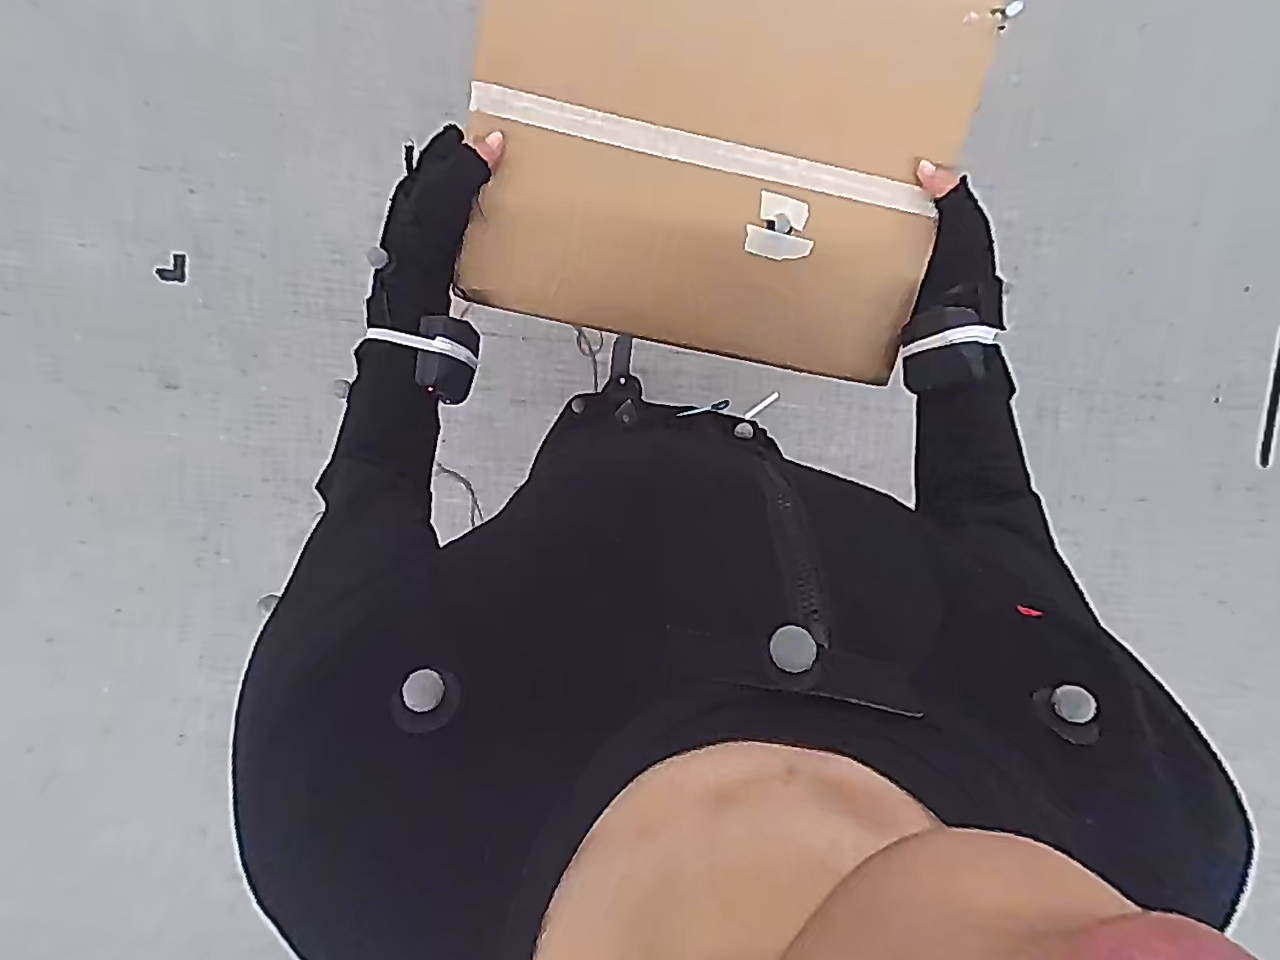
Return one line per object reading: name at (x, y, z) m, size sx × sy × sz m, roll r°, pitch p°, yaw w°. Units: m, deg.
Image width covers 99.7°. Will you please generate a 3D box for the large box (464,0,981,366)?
large box at (0.052, -0.326, 0.607) m, size 0.408 × 0.320 × 0.320 m, roll 10°, pitch 106°, yaw -7°
